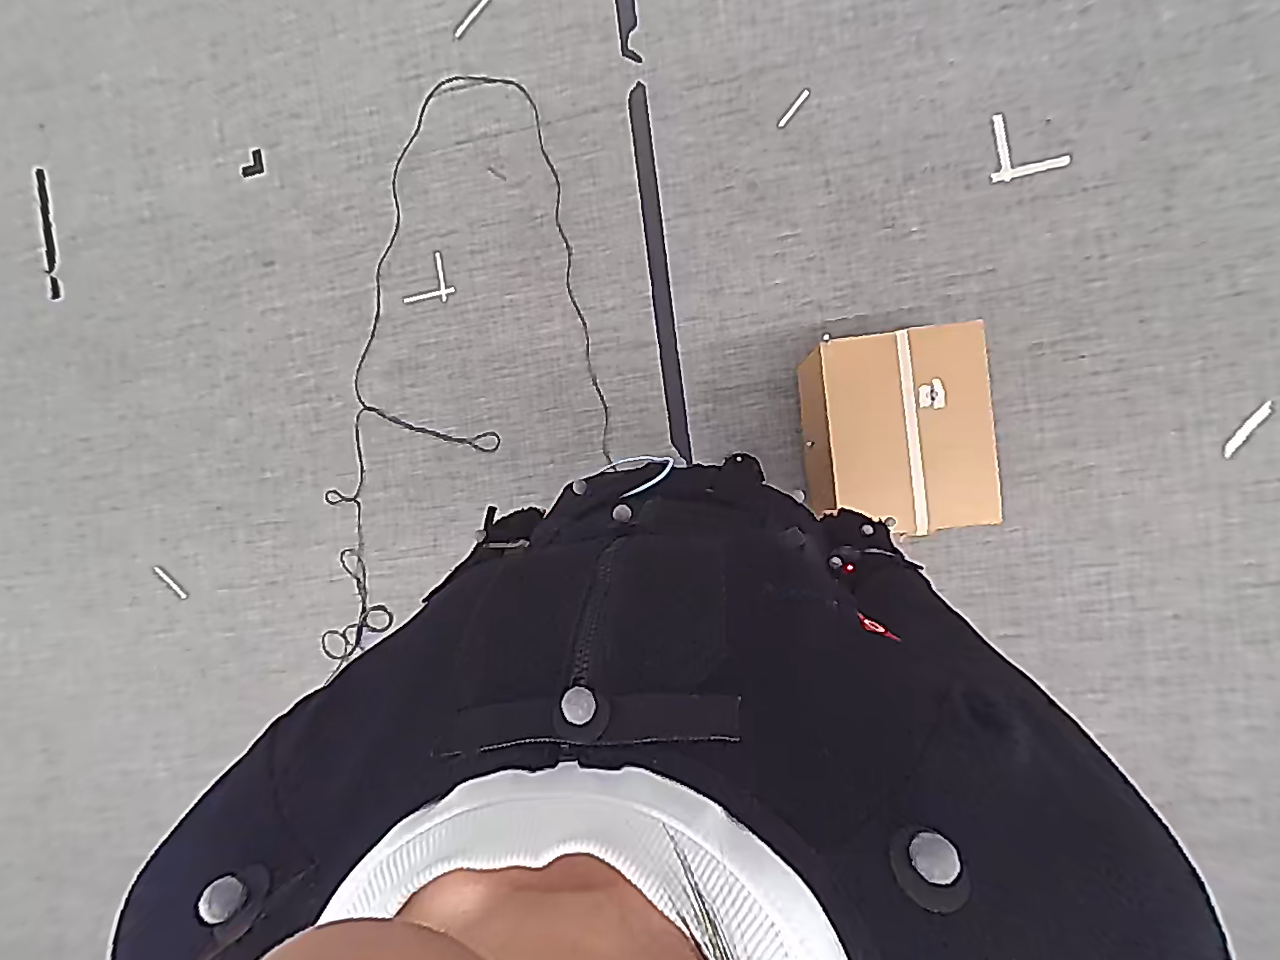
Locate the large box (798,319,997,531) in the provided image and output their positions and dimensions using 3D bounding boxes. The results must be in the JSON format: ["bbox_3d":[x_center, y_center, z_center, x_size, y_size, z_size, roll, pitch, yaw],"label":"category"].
[{"bbox_3d":[0.561,-0.111,1.246,0.320,0.320,0.408,-6,90,7],"label":"large box"}]
